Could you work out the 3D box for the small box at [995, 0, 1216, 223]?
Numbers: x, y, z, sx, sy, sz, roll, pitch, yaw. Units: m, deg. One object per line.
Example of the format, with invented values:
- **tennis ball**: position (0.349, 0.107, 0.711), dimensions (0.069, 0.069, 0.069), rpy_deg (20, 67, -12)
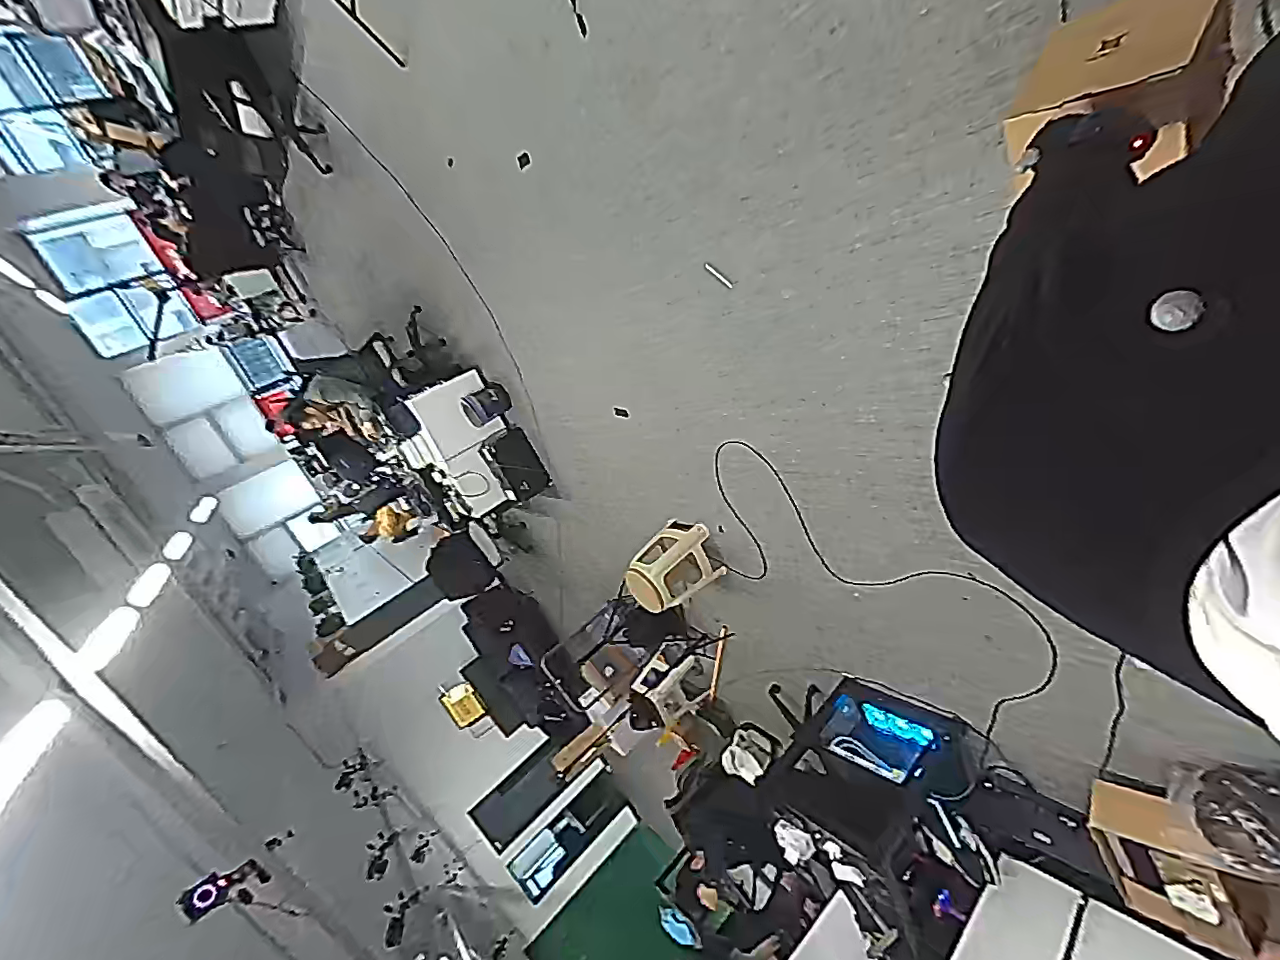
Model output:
- **small box**: position (0.576, -0.445, 0.672), dimensions (0.168, 0.179, 0.176), rpy_deg (17, 161, 48)
